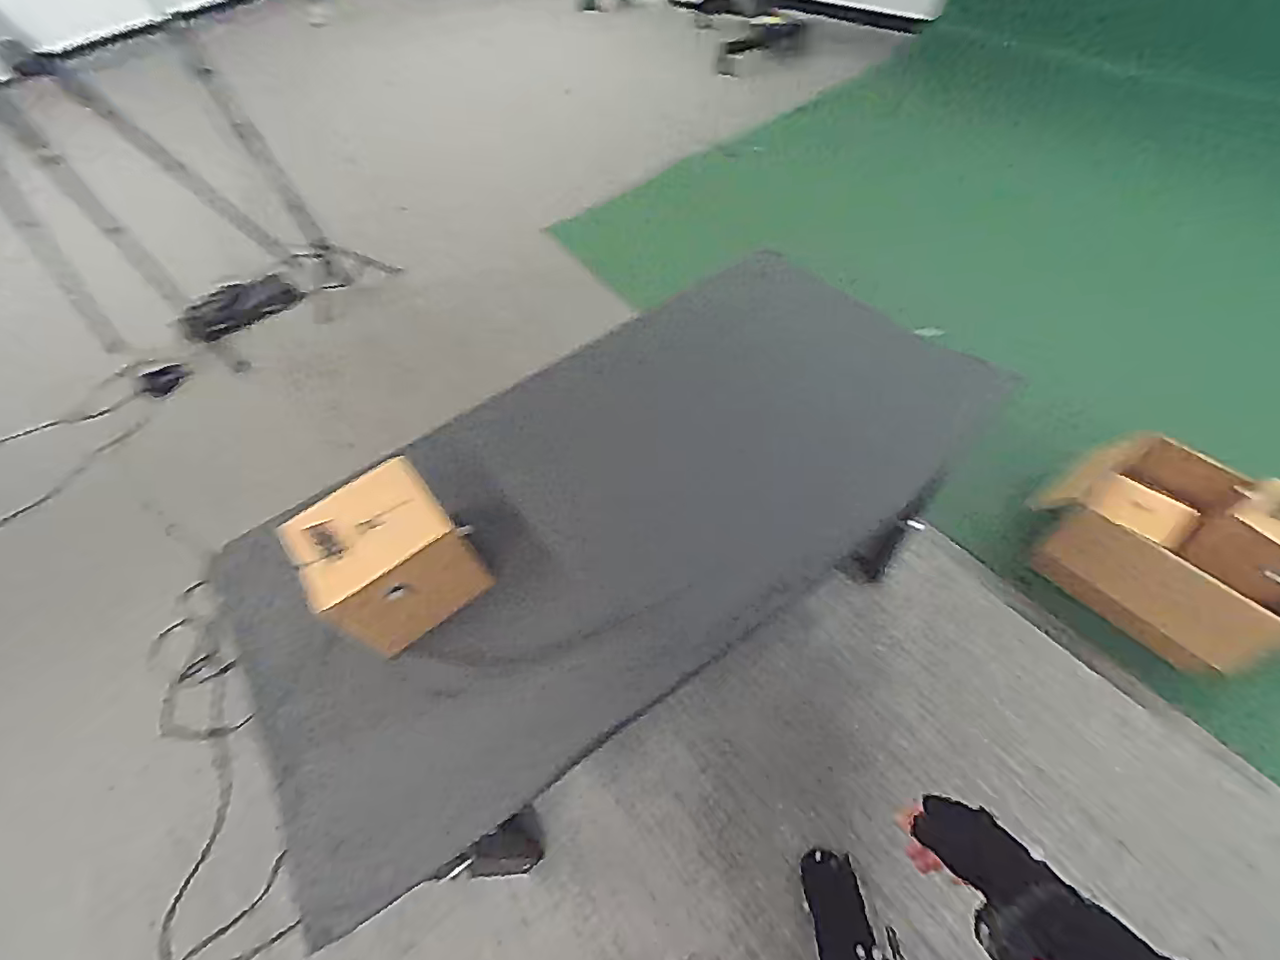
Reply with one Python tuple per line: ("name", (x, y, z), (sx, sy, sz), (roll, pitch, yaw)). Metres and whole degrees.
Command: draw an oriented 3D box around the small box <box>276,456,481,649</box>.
("small box", (-0.357, 0.107, 0.763), (0.179, 0.176, 0.168), (-36, 59, -18))
